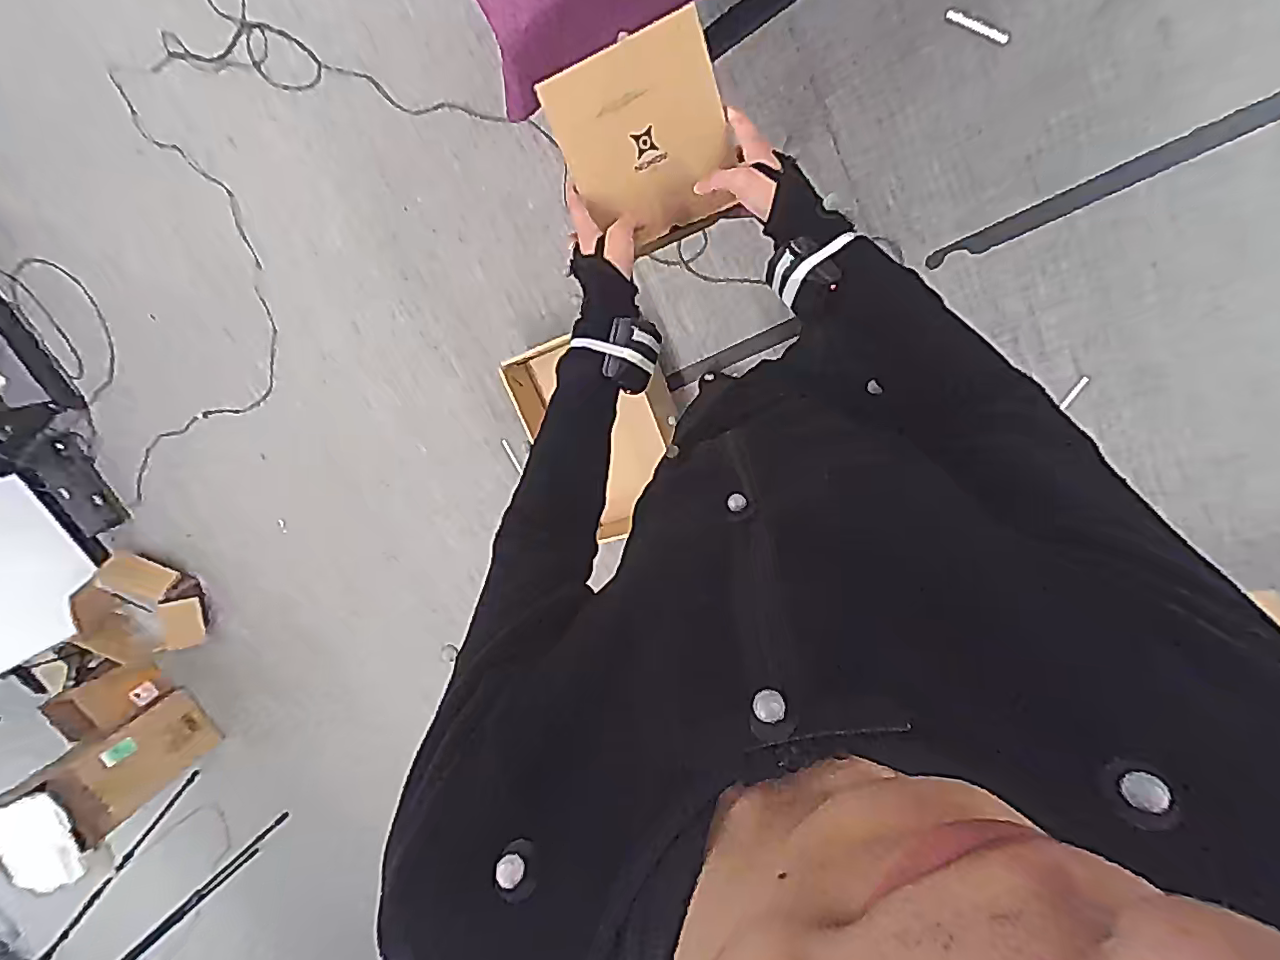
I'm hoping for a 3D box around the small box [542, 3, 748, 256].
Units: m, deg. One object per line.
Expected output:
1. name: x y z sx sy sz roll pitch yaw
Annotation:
1. small box: 0.009 -0.384 0.611 0.168 0.176 0.179 -19 121 9
